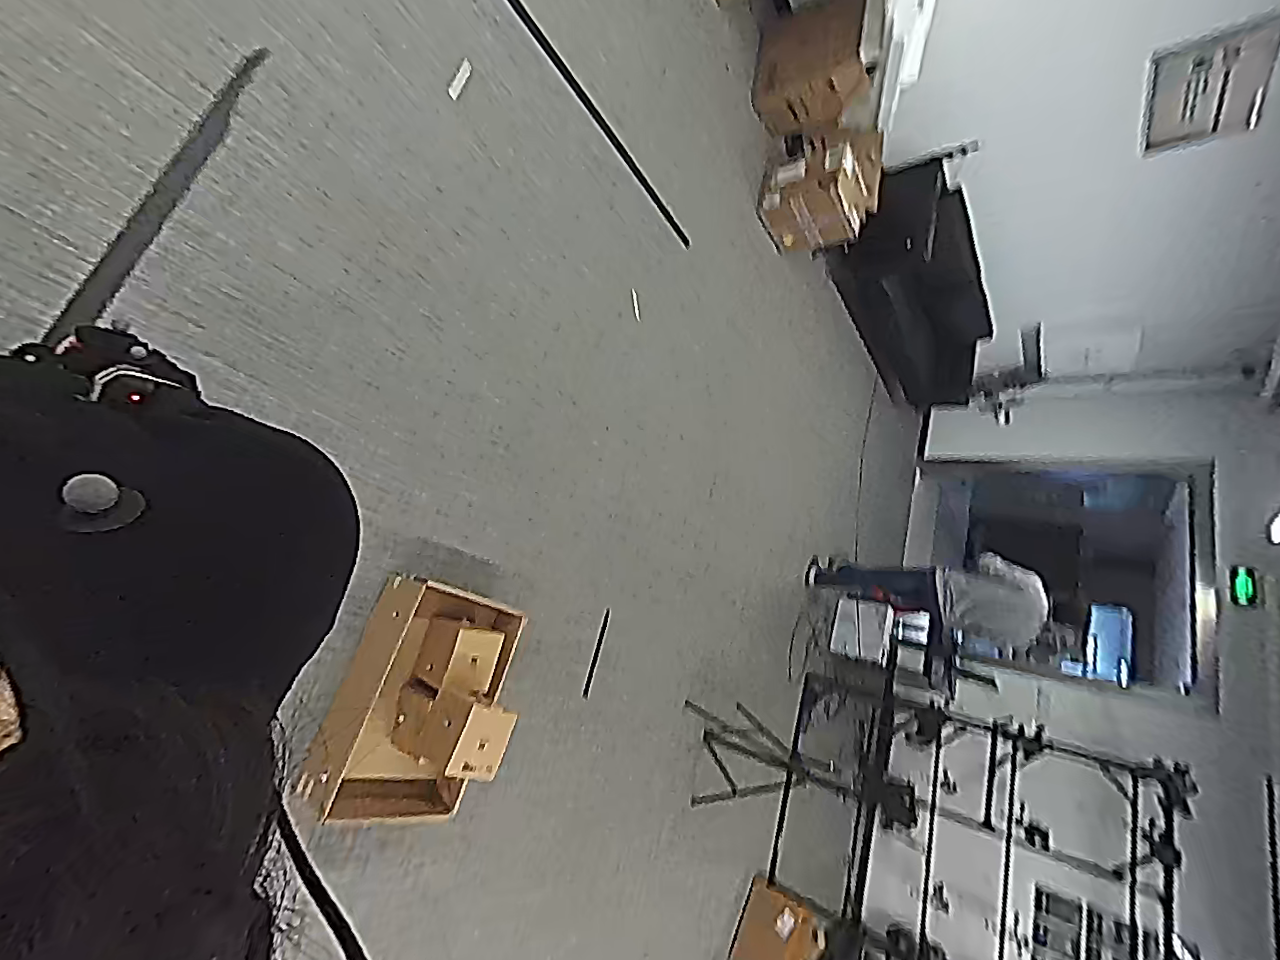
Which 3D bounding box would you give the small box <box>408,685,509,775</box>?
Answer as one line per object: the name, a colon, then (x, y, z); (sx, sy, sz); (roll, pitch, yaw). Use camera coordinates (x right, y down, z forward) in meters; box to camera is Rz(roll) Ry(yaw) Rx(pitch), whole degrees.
small box: (-0.497, 0.676, 1.474); (0.168, 0.176, 0.179); (40, 60, -43)
